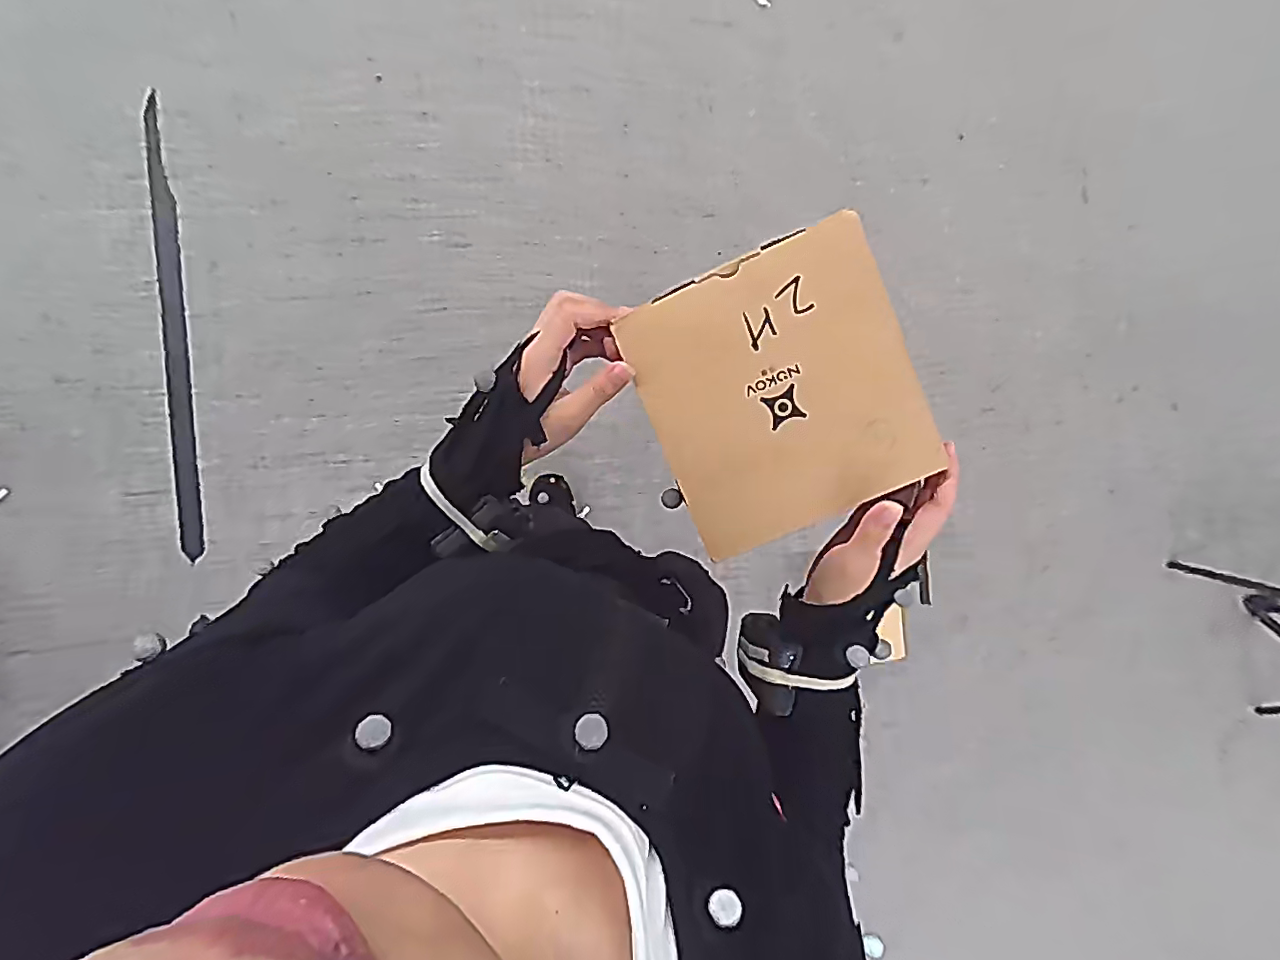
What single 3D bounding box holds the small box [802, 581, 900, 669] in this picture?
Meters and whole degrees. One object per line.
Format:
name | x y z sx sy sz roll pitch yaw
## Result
small box | 0.545 0.370 1.411 0.179 0.176 0.168 -7 93 -7
